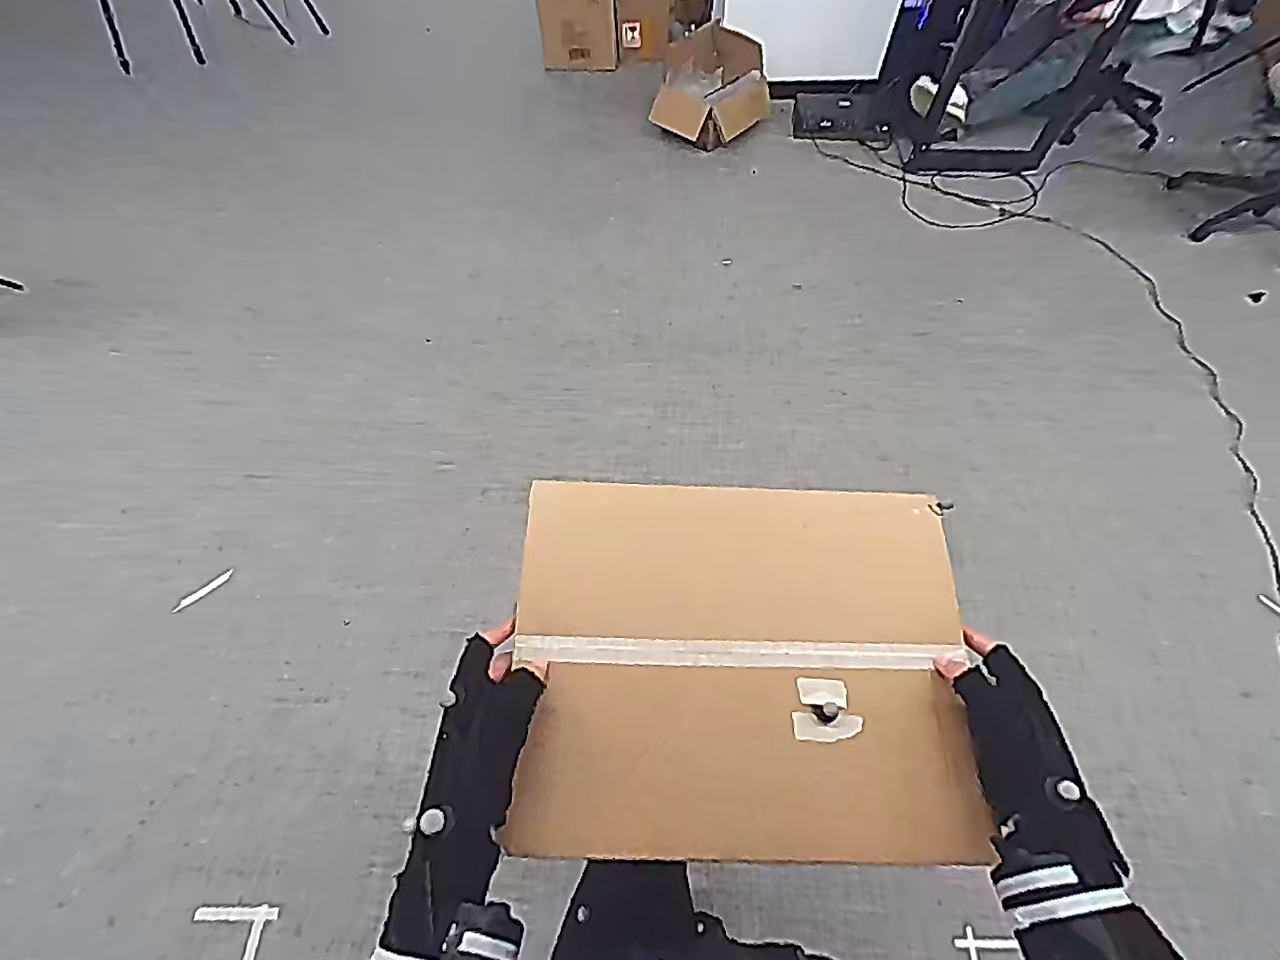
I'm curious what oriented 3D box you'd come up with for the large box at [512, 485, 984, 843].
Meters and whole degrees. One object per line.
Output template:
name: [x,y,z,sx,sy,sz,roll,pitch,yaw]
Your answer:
large box: [0.085,0.207,0.636,0.408,0.320,0.320,2,69,-2]
